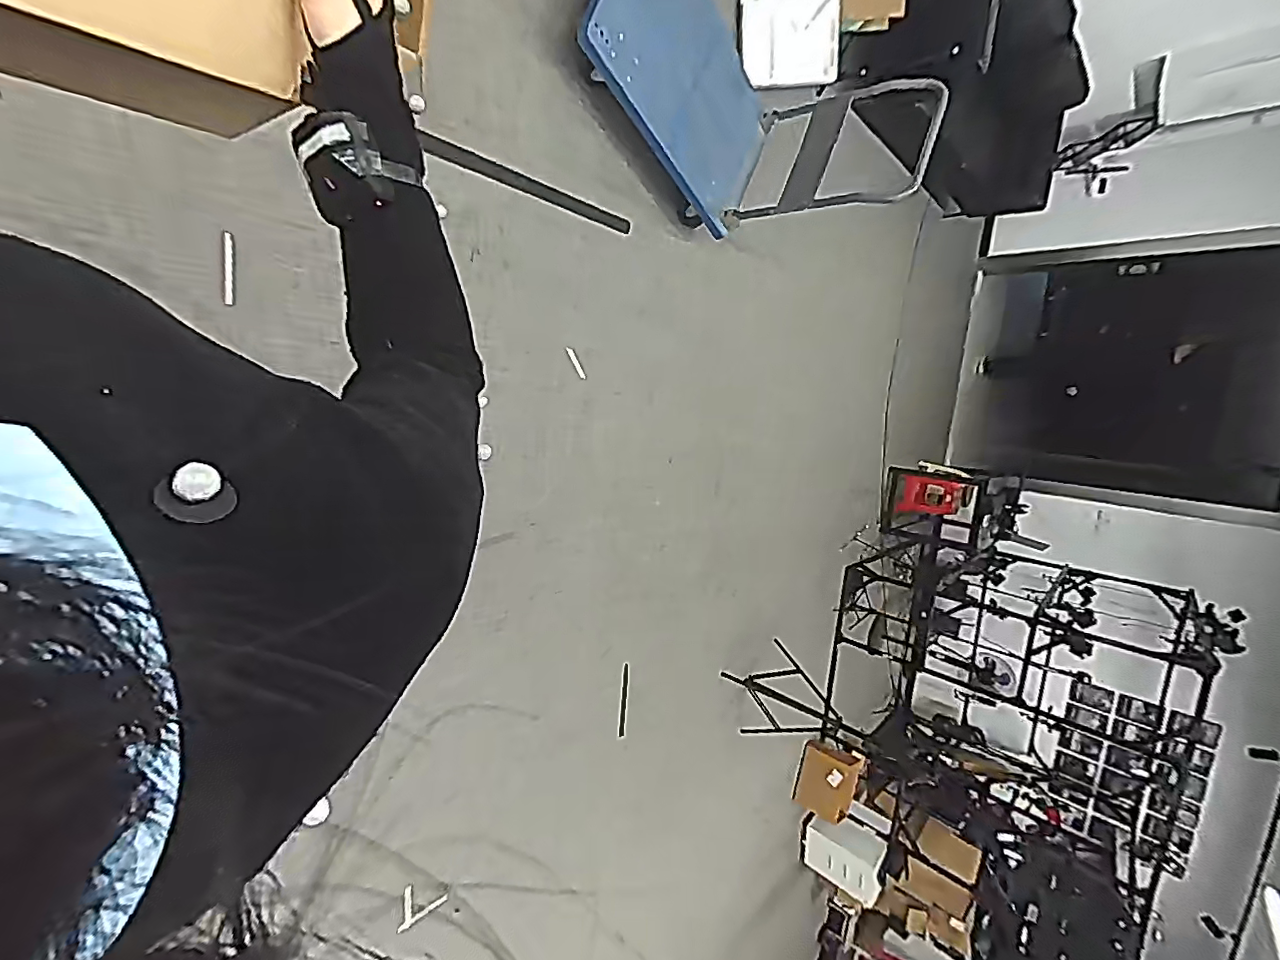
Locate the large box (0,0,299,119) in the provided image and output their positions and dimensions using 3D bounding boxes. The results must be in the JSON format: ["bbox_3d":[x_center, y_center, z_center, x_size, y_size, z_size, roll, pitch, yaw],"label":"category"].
[{"bbox_3d":[-0.486,-0.479,0.343,0.408,0.320,0.320,-7,114,-43],"label":"large box"}]
